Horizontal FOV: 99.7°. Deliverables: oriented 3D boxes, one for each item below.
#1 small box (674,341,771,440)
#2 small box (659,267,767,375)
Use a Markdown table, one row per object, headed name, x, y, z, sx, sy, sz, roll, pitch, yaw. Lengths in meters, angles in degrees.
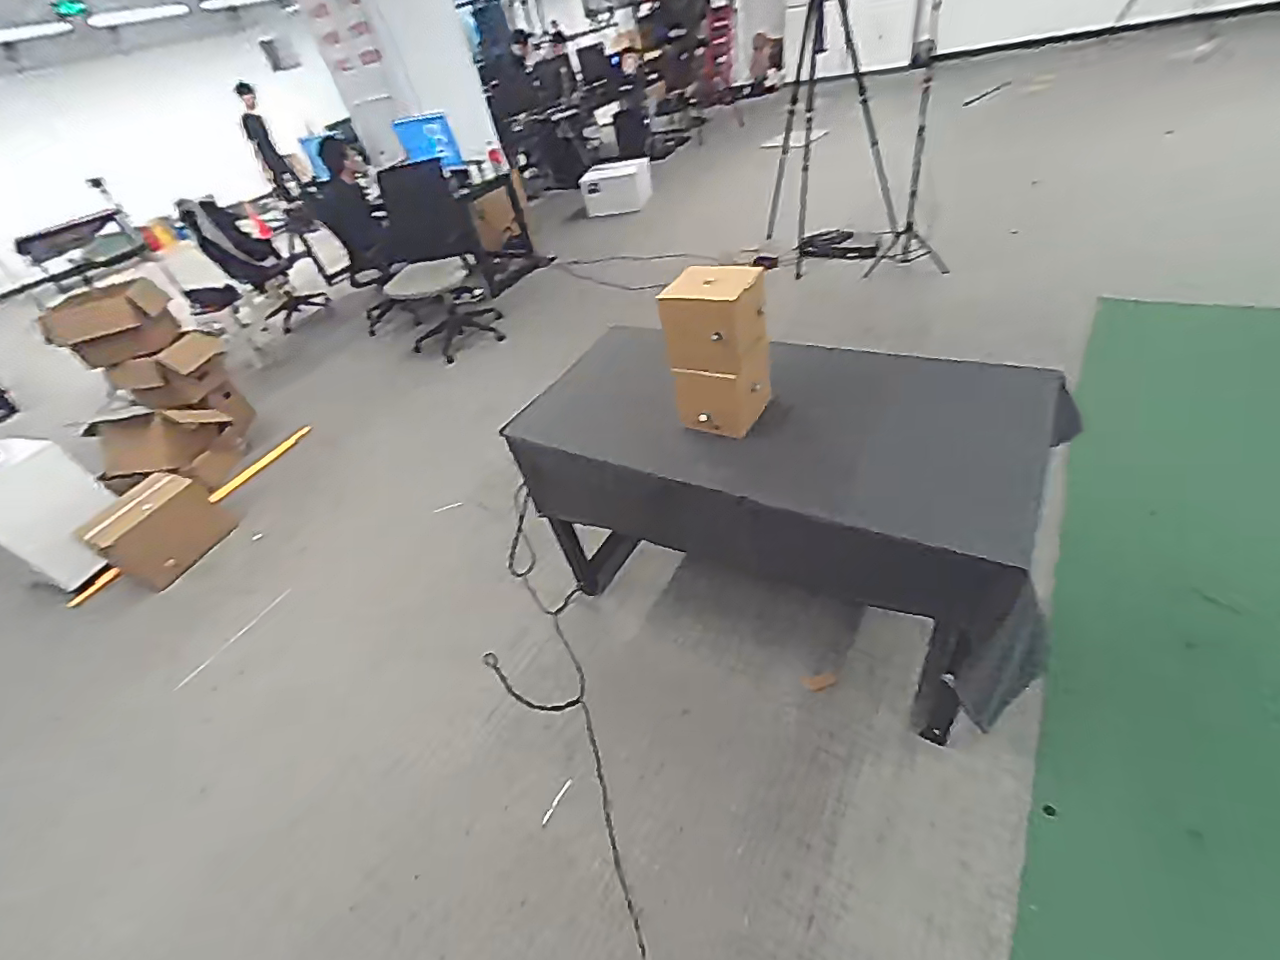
| name | x | y | z | sx | sy | sz | roll | pitch | yaw |
| --- | --- | --- | --- | --- | --- | --- | --- | --- | --- |
| small box | 0.201 | -0.221 | 1.277 | 0.168 | 0.176 | 0.179 | 16 | 49 | 32 |
| small box | 0.167 | -0.345 | 1.177 | 0.179 | 0.176 | 0.168 | 14 | 47 | 30 |
